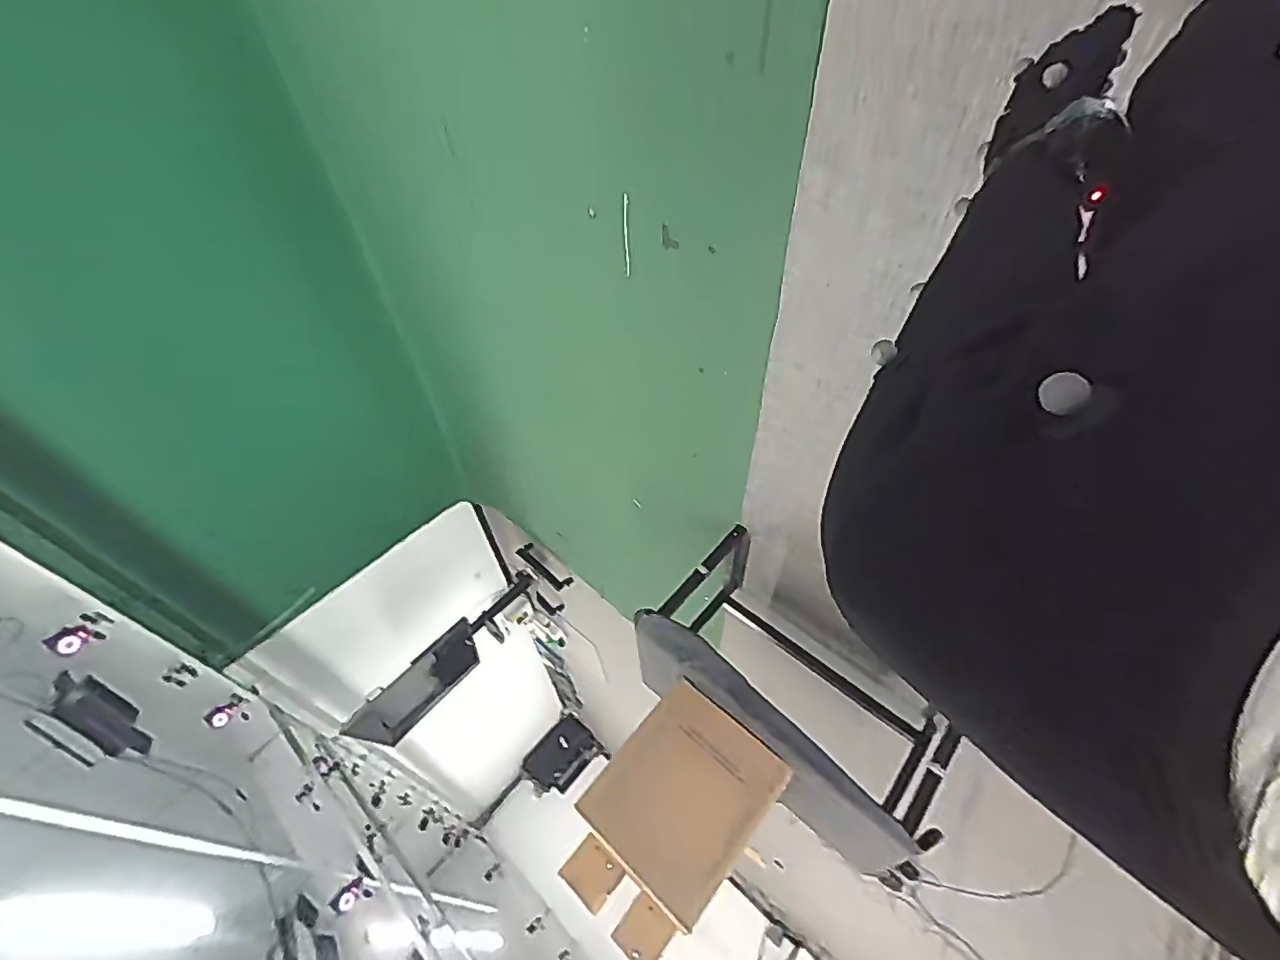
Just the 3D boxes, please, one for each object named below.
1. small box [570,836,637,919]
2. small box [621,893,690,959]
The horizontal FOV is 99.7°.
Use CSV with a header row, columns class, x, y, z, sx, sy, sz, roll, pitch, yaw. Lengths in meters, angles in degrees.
class,x,y,z,sx,sy,sz,roll,pitch,yaw
small box,-0.127,1.436,1.959,0.168,0.176,0.179,31,147,32
small box,0.058,1.554,1.839,0.168,0.176,0.179,32,148,29
